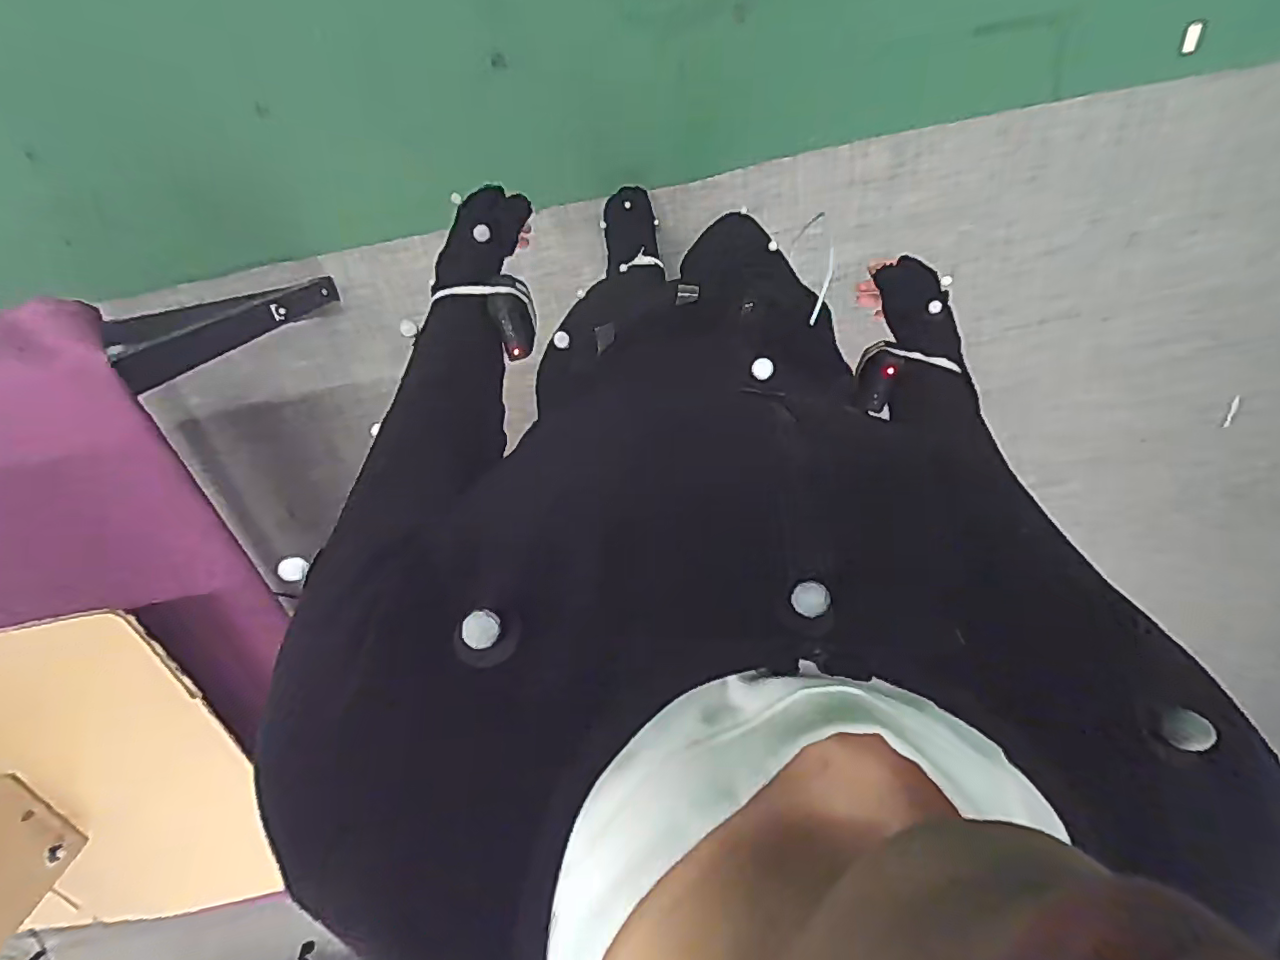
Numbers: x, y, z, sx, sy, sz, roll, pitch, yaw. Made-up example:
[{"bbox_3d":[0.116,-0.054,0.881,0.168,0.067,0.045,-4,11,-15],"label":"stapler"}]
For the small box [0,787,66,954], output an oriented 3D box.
[{"bbox_3d":[-0.883,0.504,0.662,0.179,0.176,0.168,-11,120,2],"label":"small box"}]
